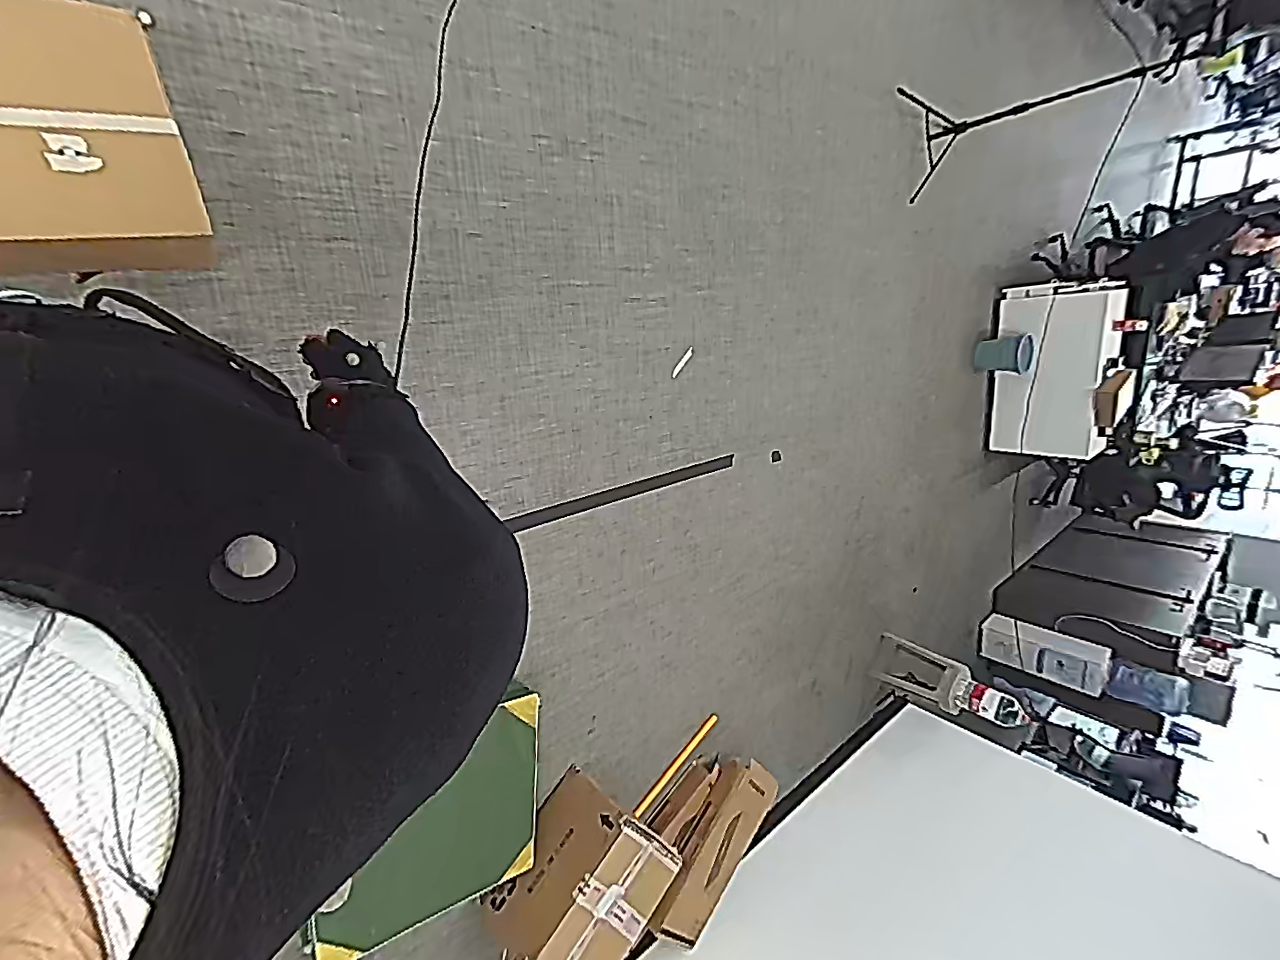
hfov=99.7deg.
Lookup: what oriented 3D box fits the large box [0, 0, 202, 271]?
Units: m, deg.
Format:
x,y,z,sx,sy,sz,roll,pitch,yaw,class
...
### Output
x,y,z,sx,sy,sz,roll,pitch,yaw,class
-0.990,-0.521,0.851,0.408,0.320,0.320,-20,111,-35,large box
